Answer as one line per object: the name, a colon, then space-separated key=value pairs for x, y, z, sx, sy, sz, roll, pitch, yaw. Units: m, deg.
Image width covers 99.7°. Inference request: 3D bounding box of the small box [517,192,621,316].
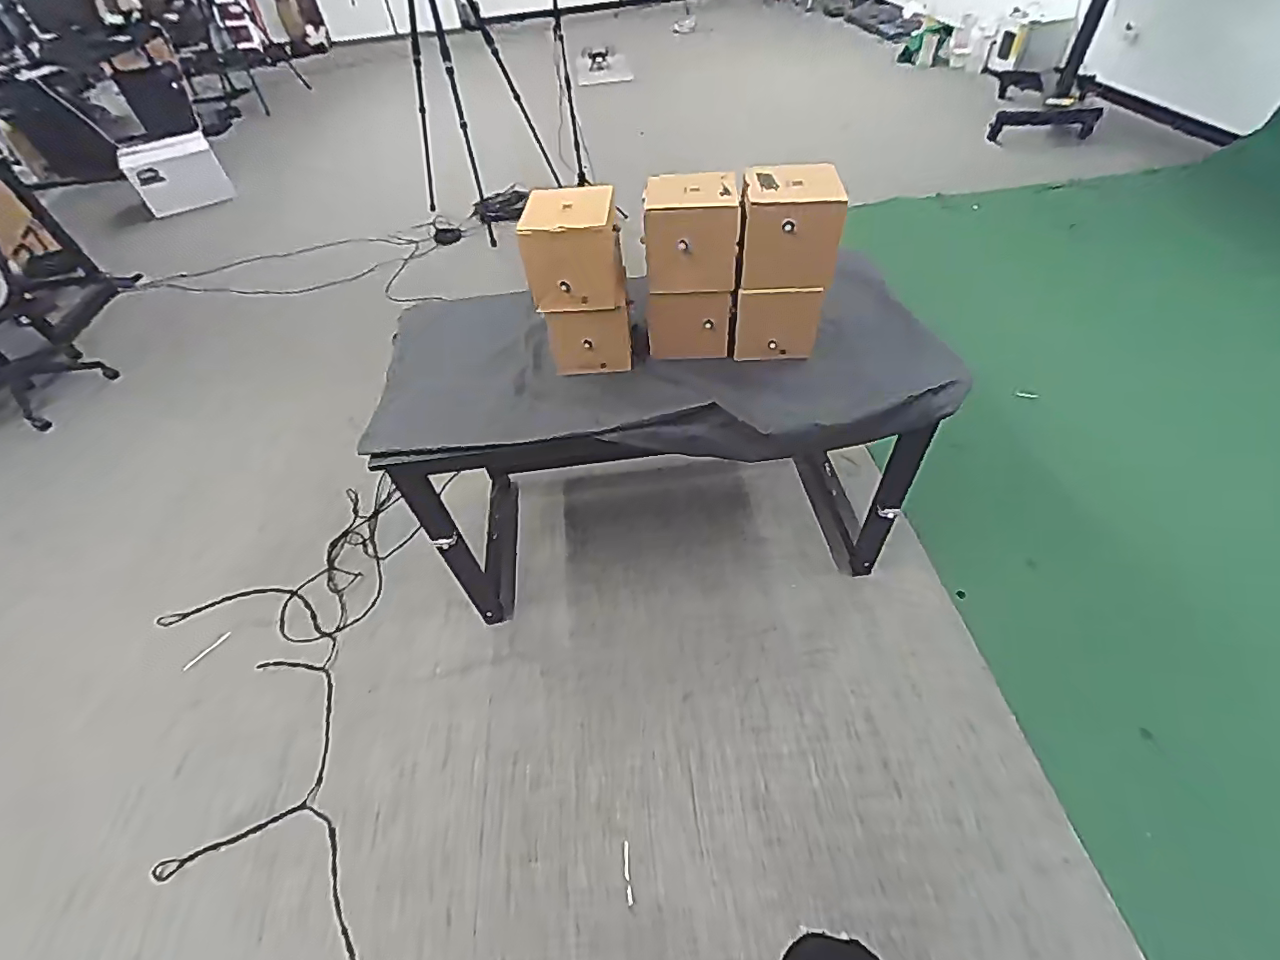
small box: x=-0.132 y=-0.450 z=1.082 sx=0.168 sy=0.176 sz=0.179 roll=-2 pitch=51 yaw=6
